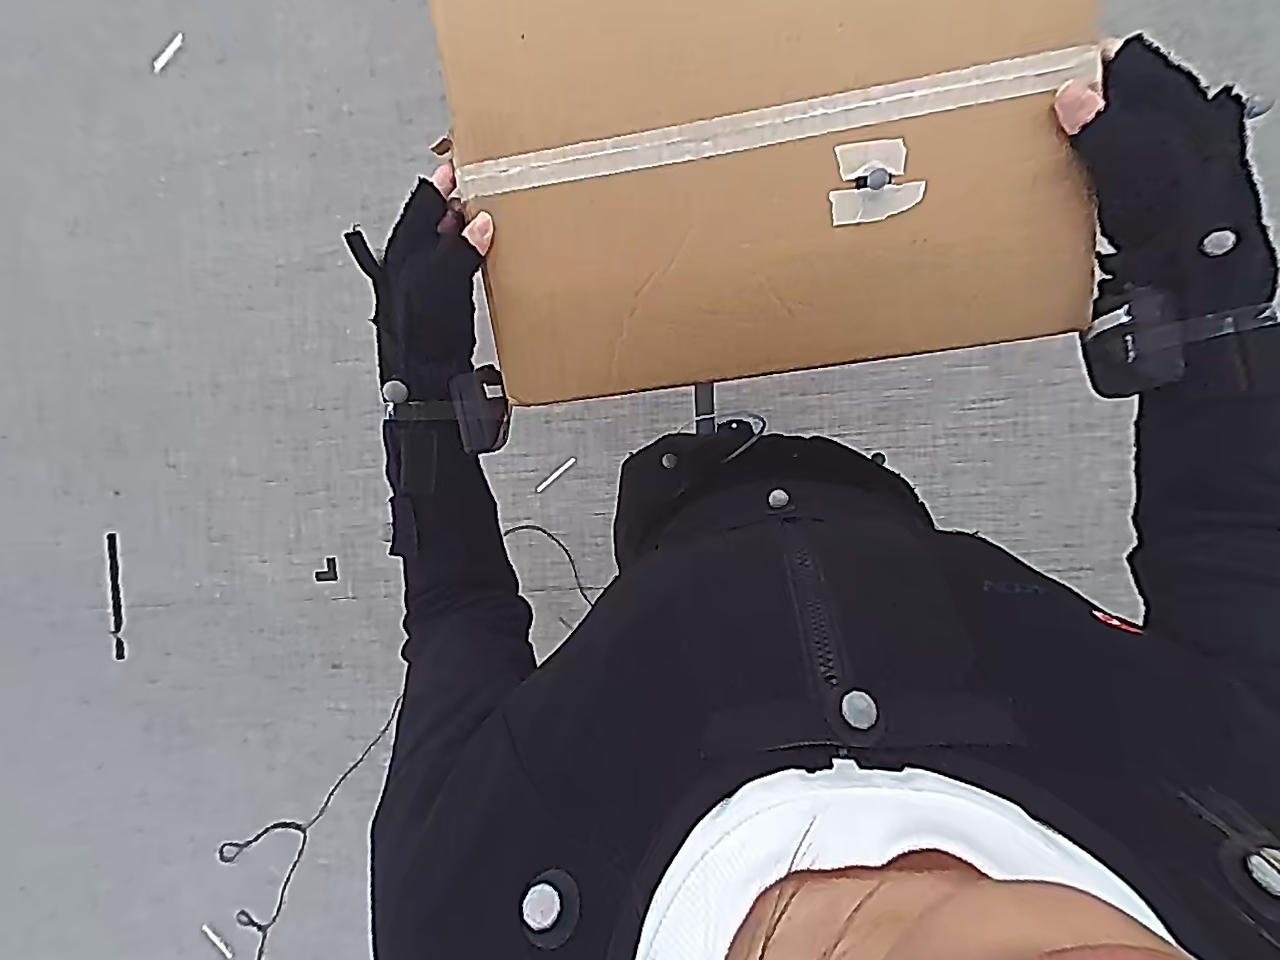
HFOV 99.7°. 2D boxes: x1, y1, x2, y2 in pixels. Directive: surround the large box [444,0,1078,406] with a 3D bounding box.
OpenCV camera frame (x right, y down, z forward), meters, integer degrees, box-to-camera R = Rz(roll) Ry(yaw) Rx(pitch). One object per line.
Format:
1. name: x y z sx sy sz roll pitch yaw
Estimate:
1. large box: 0.091 -0.263 0.511 0.408 0.320 0.320 -8 103 5
